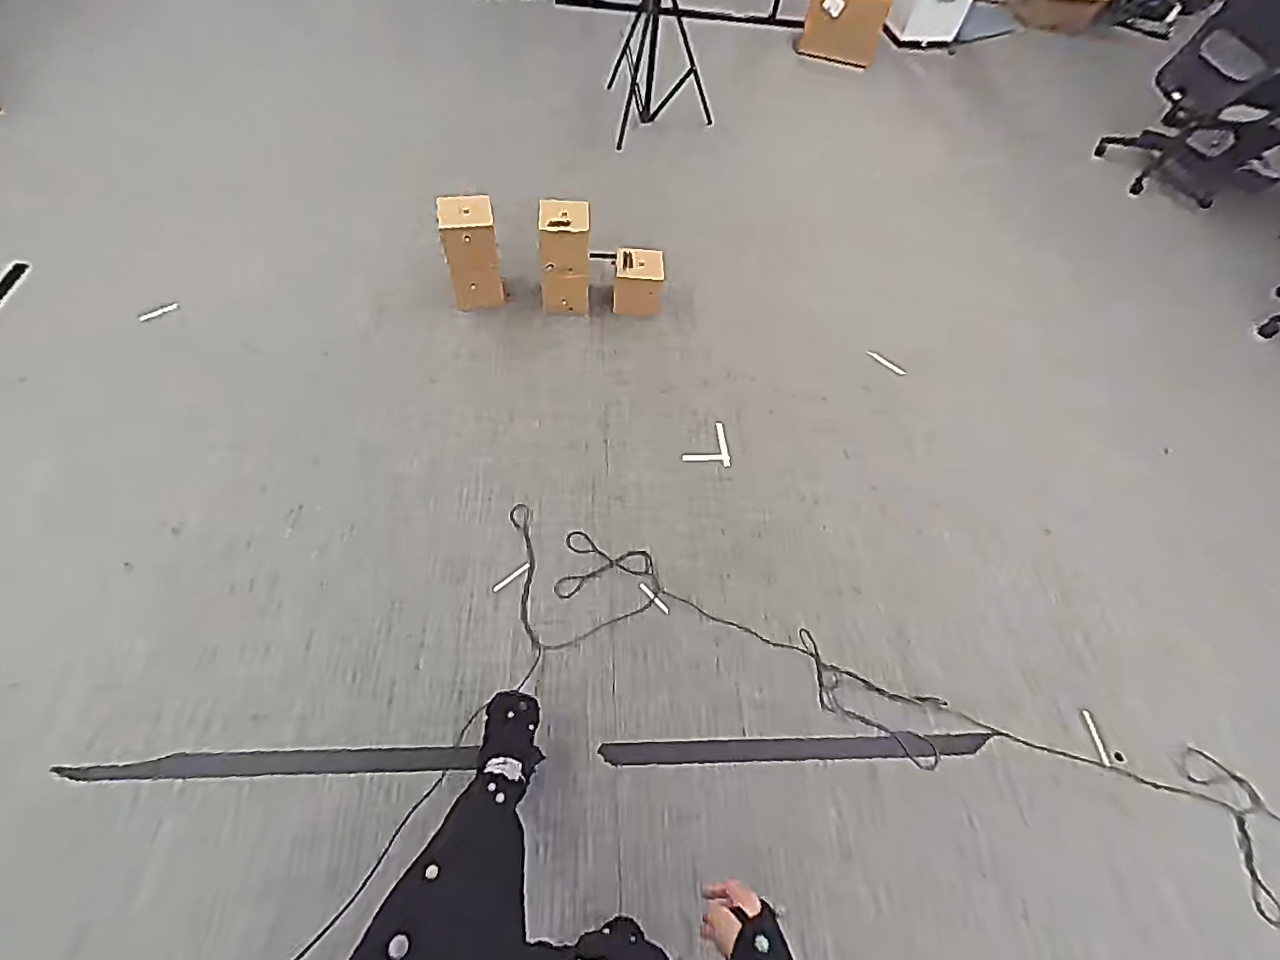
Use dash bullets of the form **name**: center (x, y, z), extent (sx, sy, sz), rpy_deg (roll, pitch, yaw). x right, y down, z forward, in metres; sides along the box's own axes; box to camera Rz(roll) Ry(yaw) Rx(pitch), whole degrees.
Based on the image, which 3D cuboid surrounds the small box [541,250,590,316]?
- **small box**: center (-0.274, -0.741, 2.017), extent (0.168, 0.176, 0.179), rpy_deg (2, 59, -4)

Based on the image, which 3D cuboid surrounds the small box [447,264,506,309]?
- **small box**: center (-0.602, -0.750, 1.987), extent (0.179, 0.176, 0.168), rpy_deg (-11, 61, -11)

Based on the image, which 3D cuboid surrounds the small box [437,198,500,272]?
- **small box**: center (-0.584, -0.834, 1.848), extent (0.179, 0.176, 0.168), rpy_deg (-9, 62, -13)

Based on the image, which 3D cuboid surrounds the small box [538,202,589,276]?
- **small box**: center (-0.262, -0.834, 1.881), extent (0.168, 0.176, 0.179), rpy_deg (0, 58, -7)
